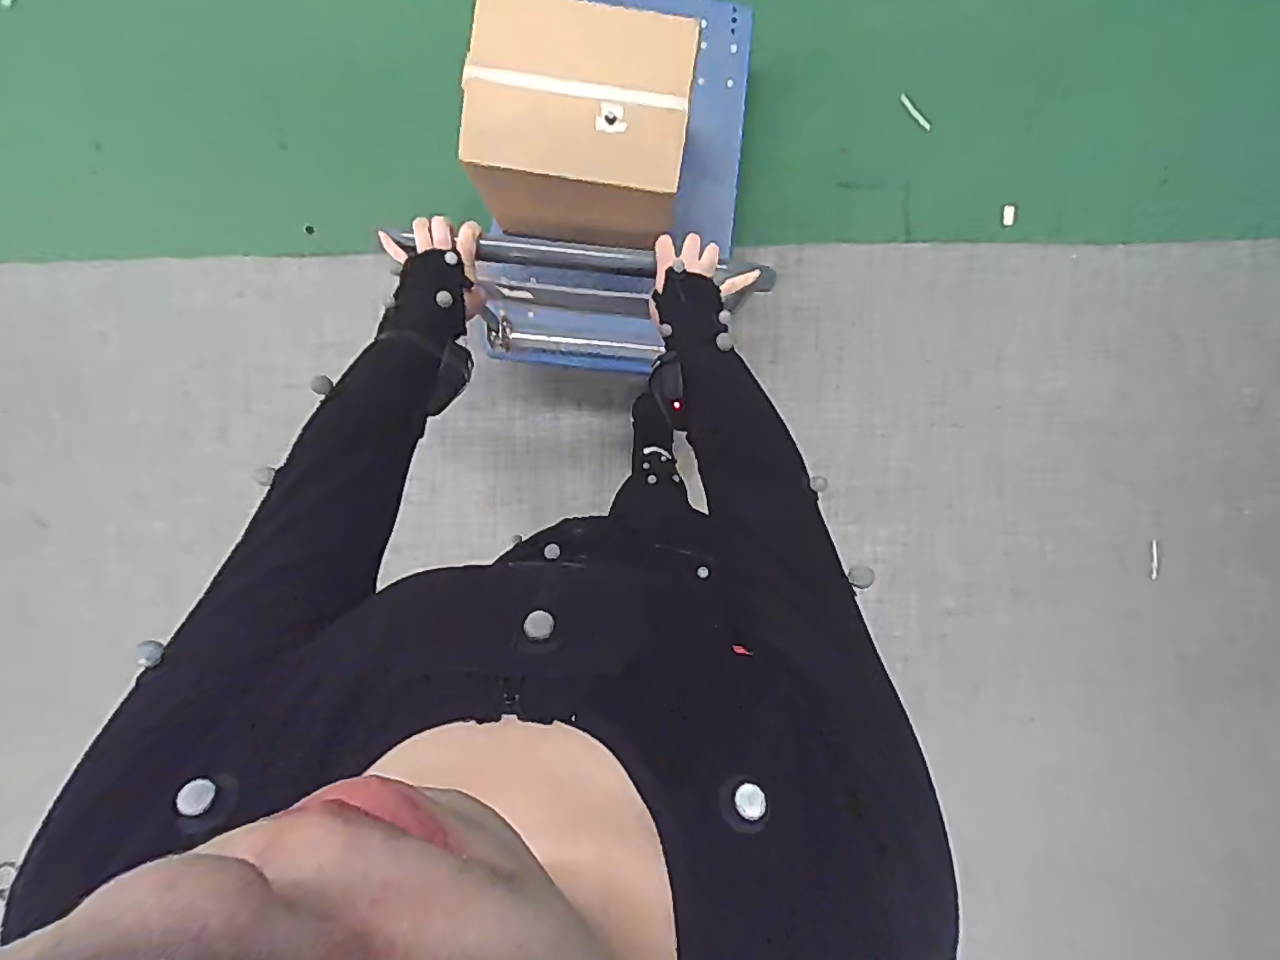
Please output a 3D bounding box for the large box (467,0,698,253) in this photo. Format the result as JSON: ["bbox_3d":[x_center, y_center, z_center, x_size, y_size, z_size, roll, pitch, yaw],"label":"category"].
[{"bbox_3d":[-0.113,-0.714,1.146,0.408,0.320,0.320,8,92,-2],"label":"large box"}]
